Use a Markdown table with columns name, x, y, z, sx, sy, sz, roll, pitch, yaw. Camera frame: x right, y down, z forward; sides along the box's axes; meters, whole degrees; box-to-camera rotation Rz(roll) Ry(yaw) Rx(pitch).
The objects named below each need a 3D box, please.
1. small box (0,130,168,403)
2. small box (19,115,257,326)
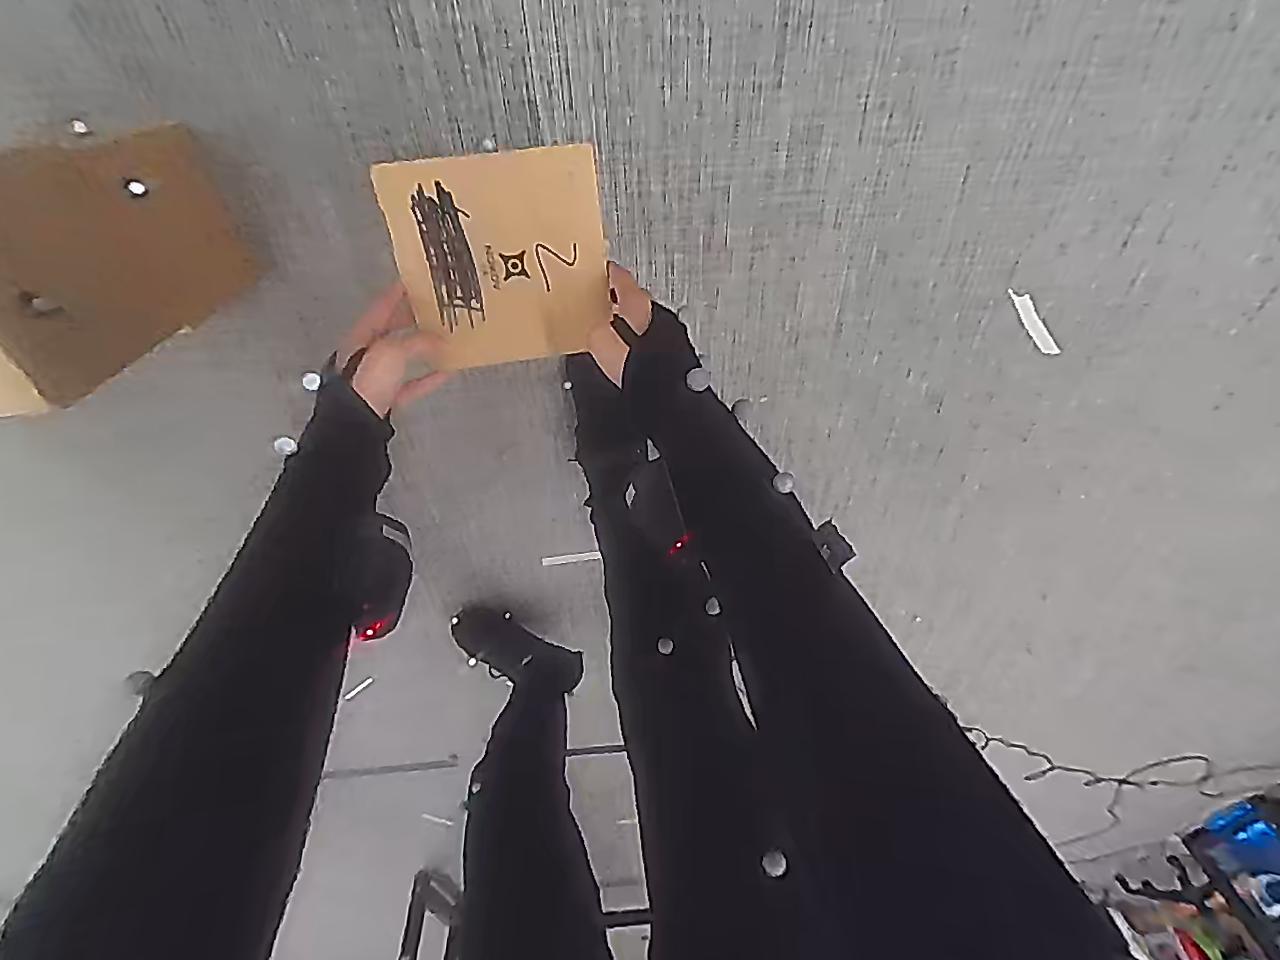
| name | x | y | z | sx | sy | sz | roll | pitch | yaw |
| --- | --- | --- | --- | --- | --- | --- | --- | --- | --- |
| small box | -0.572 | -0.179 | 0.460 | 0.168 | 0.176 | 0.179 | -6 | 128 | 0 |
| small box | -0.573 | -0.279 | 0.591 | 0.168 | 0.176 | 0.179 | -6 | 129 | 0 |
